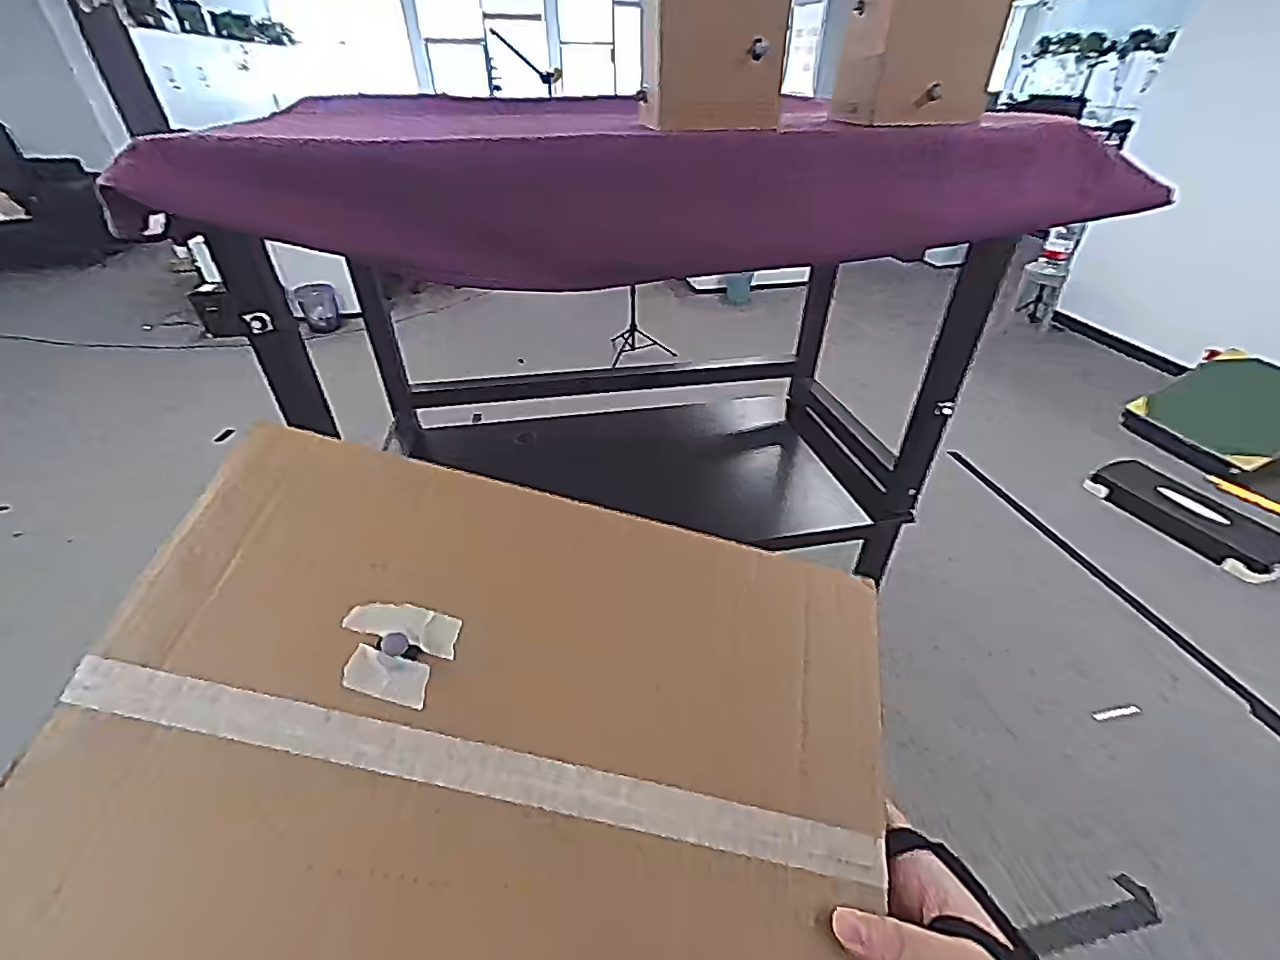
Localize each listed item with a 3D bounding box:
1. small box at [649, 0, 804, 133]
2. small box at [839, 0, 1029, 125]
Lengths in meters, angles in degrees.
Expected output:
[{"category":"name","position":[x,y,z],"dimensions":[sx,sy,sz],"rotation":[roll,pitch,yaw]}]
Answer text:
[{"category":"small box","position":[0.109,-0.596,0.758],"dimensions":[0.179,0.176,0.168],"rotation":[-5,36,-6]},{"category":"small box","position":[0.425,-0.639,0.809],"dimensions":[0.179,0.176,0.168],"rotation":[-3,36,-4]}]
